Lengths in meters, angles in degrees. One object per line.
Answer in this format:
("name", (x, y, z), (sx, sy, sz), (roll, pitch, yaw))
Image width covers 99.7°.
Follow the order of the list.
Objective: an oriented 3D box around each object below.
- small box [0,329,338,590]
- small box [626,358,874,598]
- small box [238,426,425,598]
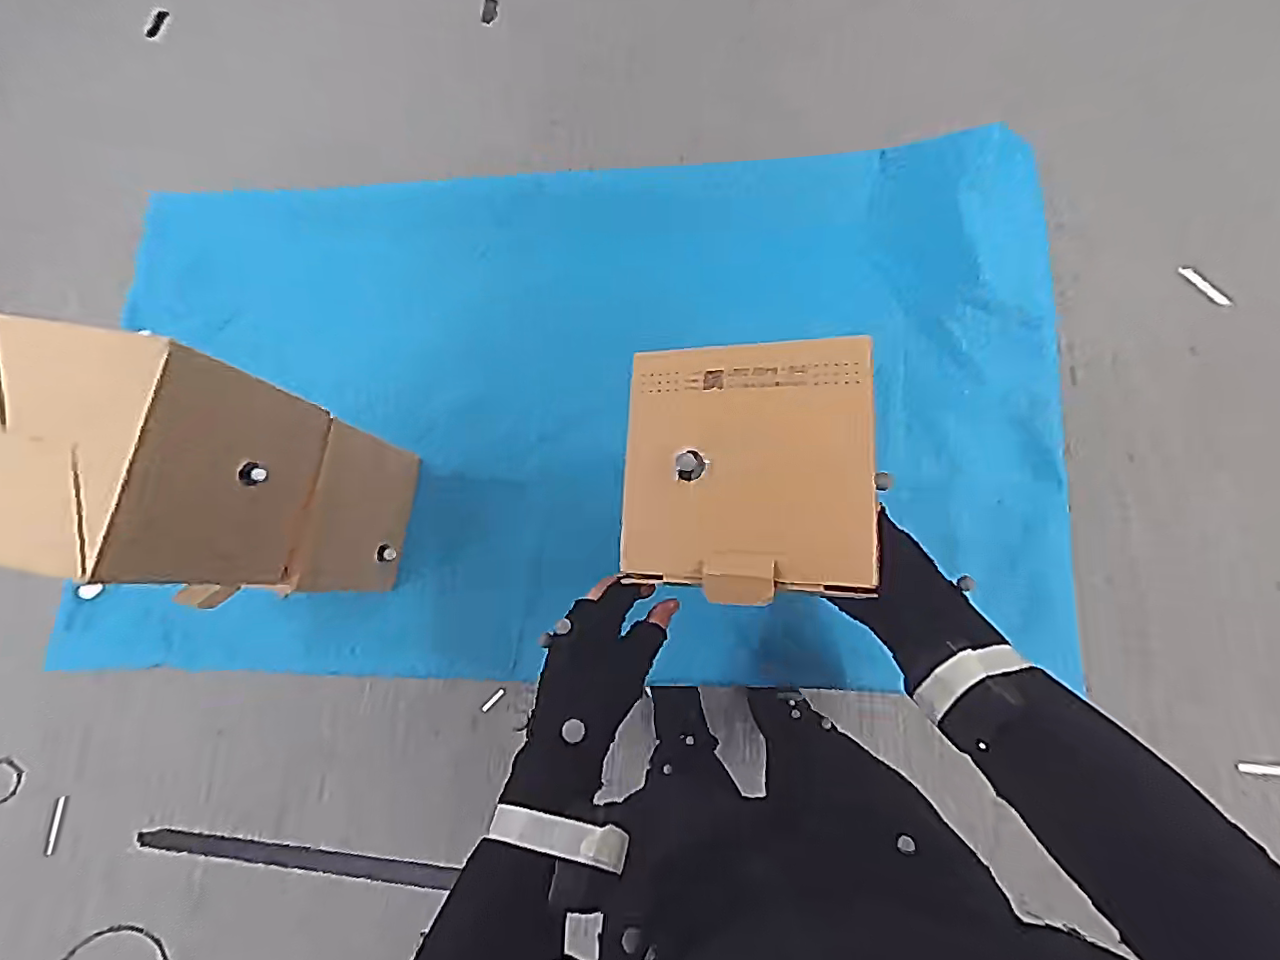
("small box", (-0.406, -0.006, 0.462), (0.168, 0.176, 0.179), (9, 81, 9))
("small box", (0.092, 0.006, 0.449), (0.168, 0.179, 0.176), (0, 77, 16))
("small box", (-0.378, 0.038, 0.618), (0.168, 0.176, 0.179), (5, 79, 8))
